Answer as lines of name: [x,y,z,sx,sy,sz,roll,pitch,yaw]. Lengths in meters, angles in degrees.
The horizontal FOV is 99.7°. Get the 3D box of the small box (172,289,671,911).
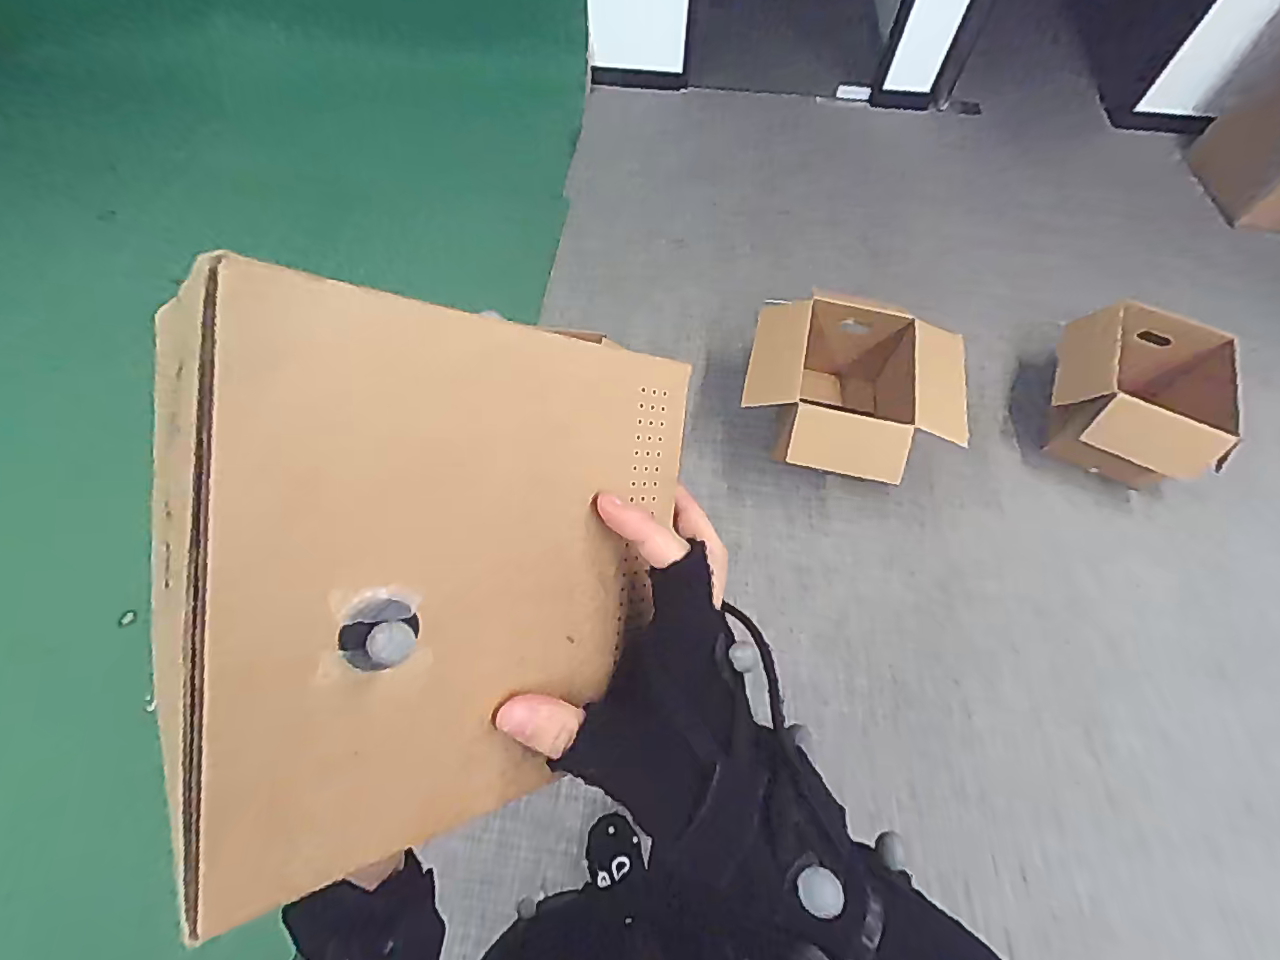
small box: [-0.103,0.027,0.254,0.168,0.176,0.179,11,97,45]
